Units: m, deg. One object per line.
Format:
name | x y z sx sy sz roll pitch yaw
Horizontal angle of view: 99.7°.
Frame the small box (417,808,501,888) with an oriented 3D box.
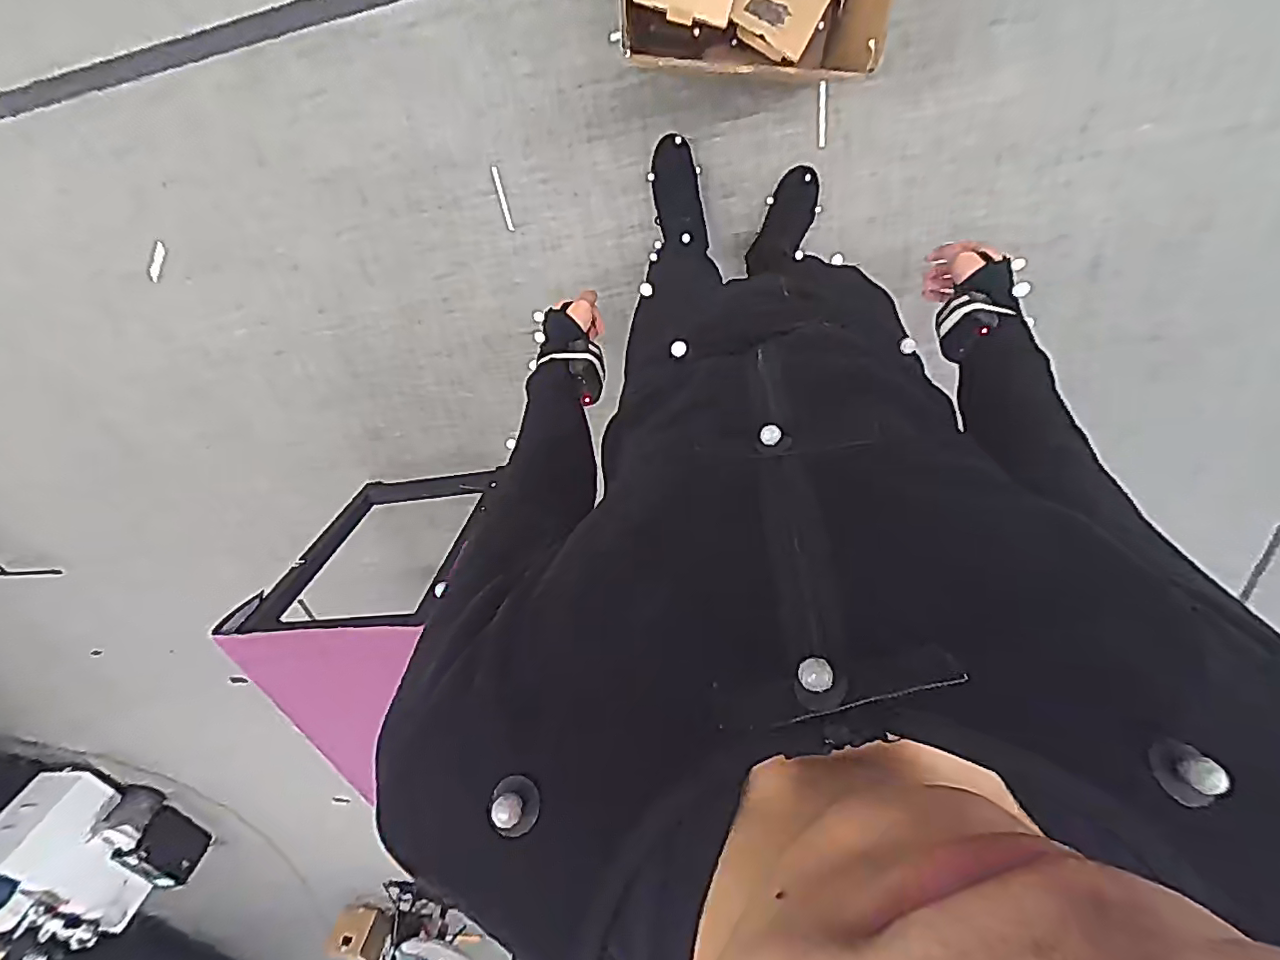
small box | -0.580 1.193 1.758 0.179 0.176 0.168 -10 123 13
